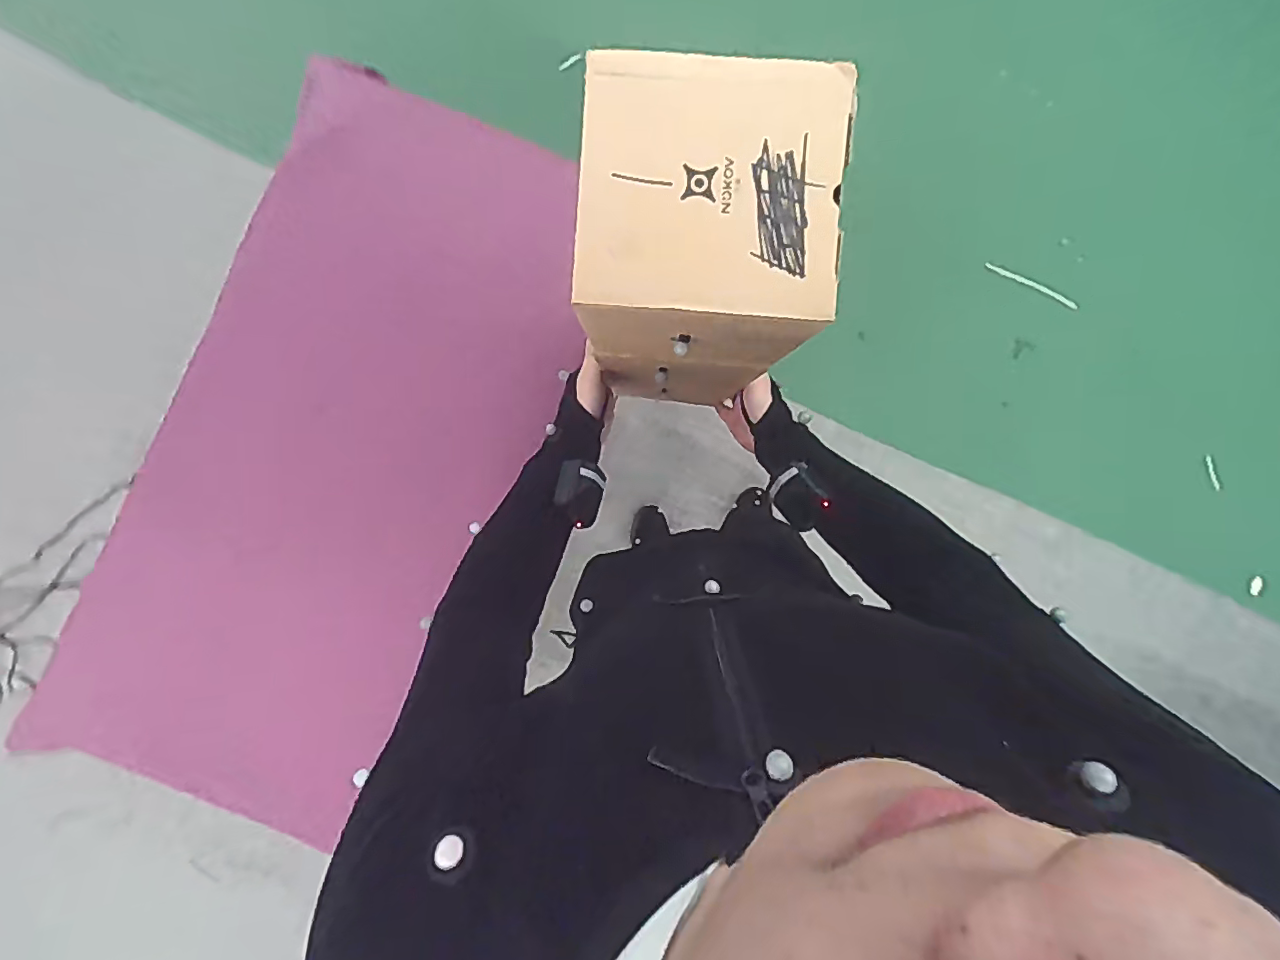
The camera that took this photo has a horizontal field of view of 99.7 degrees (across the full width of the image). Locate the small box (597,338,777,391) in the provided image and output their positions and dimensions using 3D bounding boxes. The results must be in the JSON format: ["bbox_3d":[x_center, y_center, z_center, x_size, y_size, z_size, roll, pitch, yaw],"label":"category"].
[{"bbox_3d":[0.056,-0.195,0.595,0.179,0.176,0.168,6,93,1],"label":"small box"}]

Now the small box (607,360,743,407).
[{"bbox_3d":[0.056,-0.200,0.759,0.179,0.176,0.168,8,92,0],"label":"small box"}]

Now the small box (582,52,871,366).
[{"bbox_3d":[0.056,-0.189,0.431,0.179,0.176,0.168,5,93,1],"label":"small box"}]
